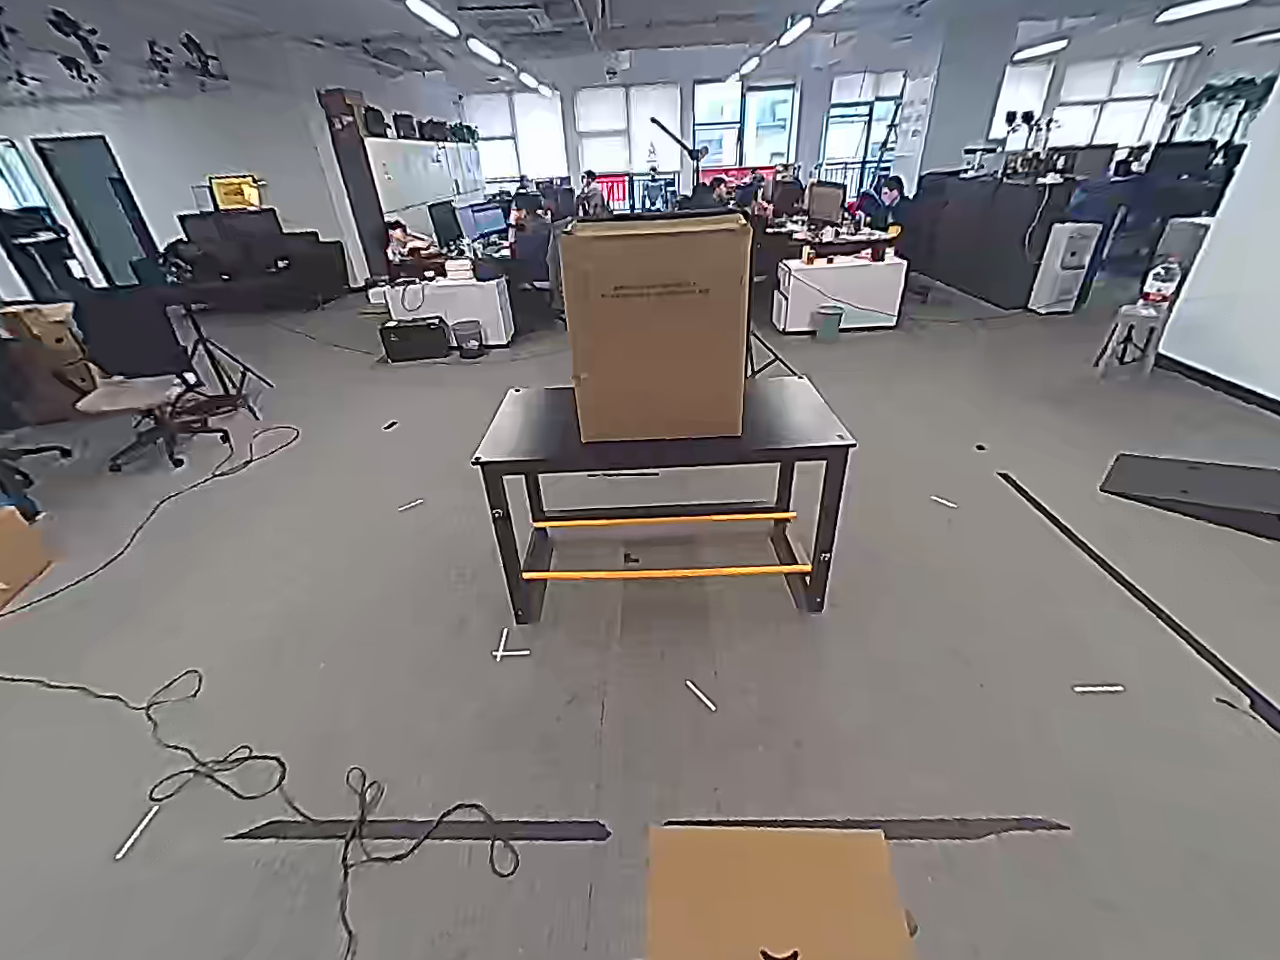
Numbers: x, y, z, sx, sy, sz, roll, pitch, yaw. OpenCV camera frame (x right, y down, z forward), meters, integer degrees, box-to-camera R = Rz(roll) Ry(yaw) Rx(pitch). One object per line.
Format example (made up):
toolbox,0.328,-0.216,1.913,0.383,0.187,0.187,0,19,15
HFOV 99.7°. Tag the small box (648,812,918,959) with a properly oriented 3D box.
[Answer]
small box,0.091,0.357,0.374,0.168,0.176,0.179,-2,41,6
